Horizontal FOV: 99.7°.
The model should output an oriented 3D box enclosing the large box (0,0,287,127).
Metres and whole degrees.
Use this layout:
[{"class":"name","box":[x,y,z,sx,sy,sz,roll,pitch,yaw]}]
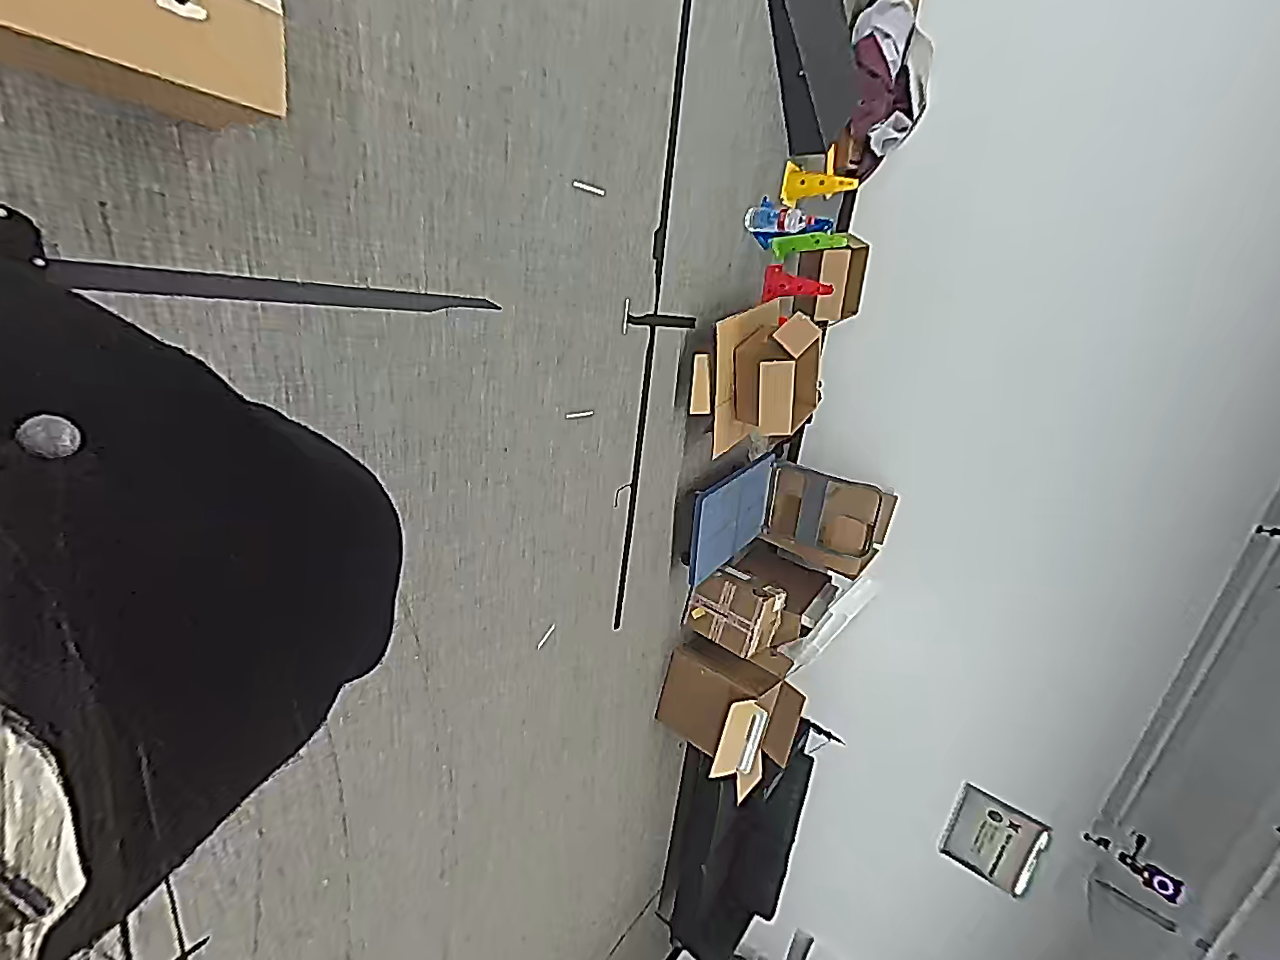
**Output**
[{"class":"large box","box":[-0.821,-0.775,0.805,0.408,0.320,0.320,-15,119,-52]}]
